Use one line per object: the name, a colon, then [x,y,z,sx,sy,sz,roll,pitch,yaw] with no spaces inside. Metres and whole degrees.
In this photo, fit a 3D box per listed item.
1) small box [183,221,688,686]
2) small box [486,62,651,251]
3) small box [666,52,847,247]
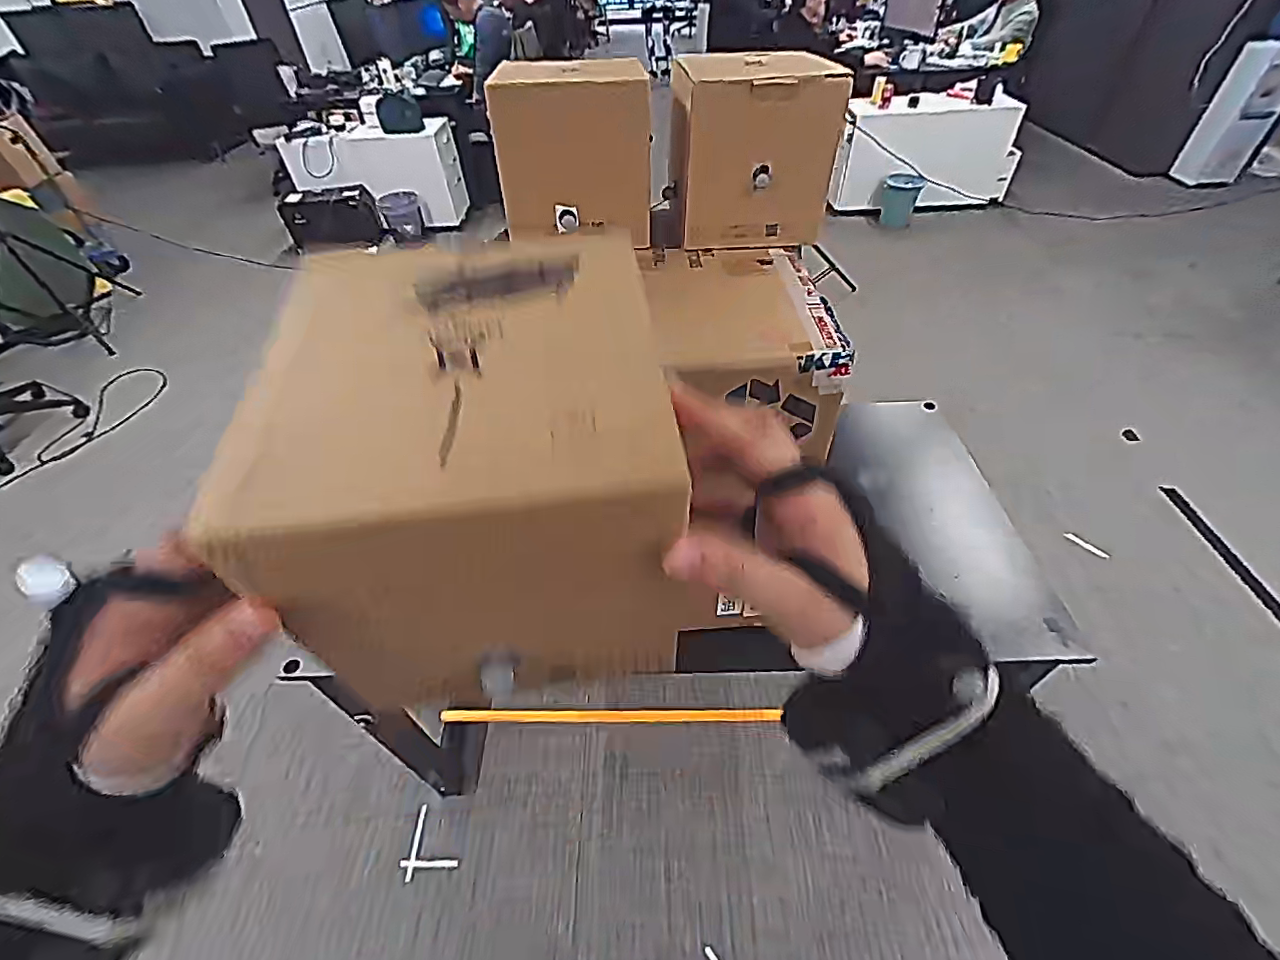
small box: [-0.075,-0.013,0.290,0.168,0.176,0.179,-7,51,-5]
small box: [-0.077,-0.386,0.650,0.168,0.176,0.179,-5,44,-3]
small box: [0.123,-0.395,0.651,0.168,0.176,0.179,-3,46,-4]
